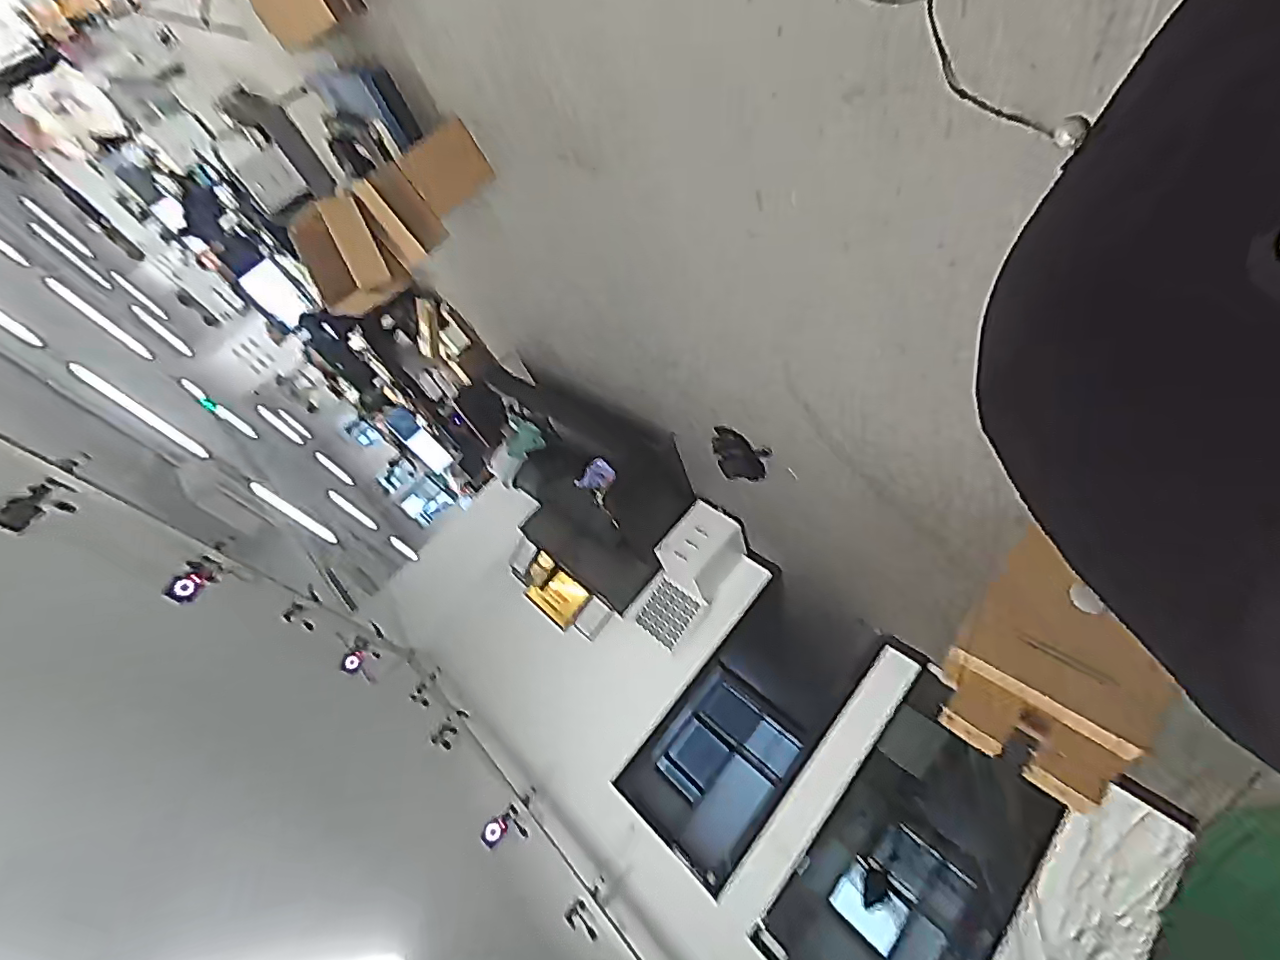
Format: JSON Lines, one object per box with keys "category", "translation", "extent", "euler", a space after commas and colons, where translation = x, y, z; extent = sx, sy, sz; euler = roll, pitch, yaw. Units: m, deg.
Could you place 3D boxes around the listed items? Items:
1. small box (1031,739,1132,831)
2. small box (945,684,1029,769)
{"category": "small box", "translation": [1.347, 0.925, 1.655], "extent": [0.179, 0.176, 0.168], "euler": [28, 155, 38]}
{"category": "small box", "translation": [1.165, 0.823, 1.814], "extent": [0.179, 0.176, 0.168], "euler": [30, 155, 36]}
